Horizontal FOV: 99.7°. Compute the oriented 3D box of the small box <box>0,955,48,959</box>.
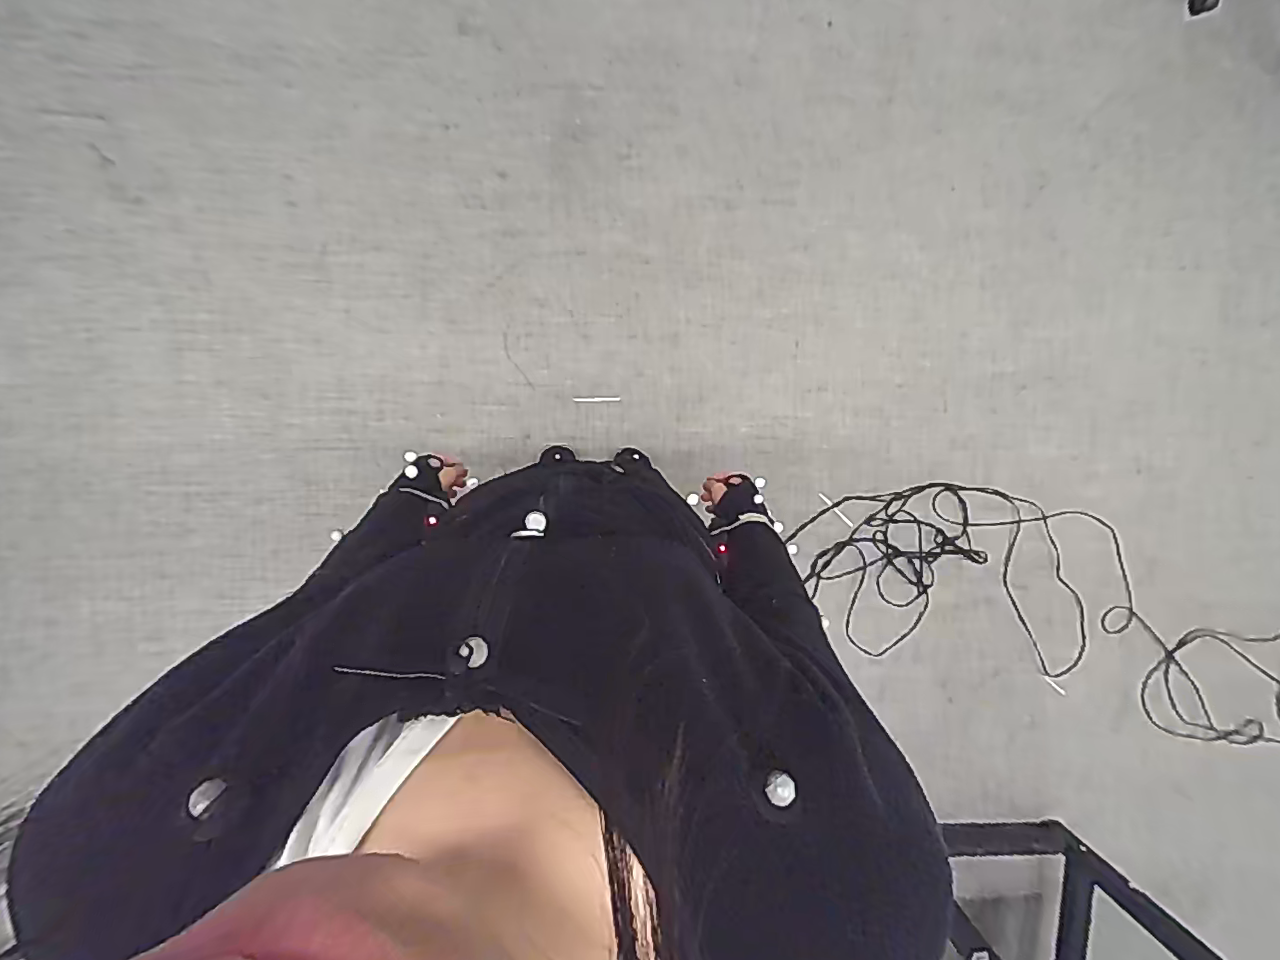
[{"bbox_3d":[-1.757,1.420,1.445,0.179,0.176,0.168,3,95,-5],"label":"small box"}]
